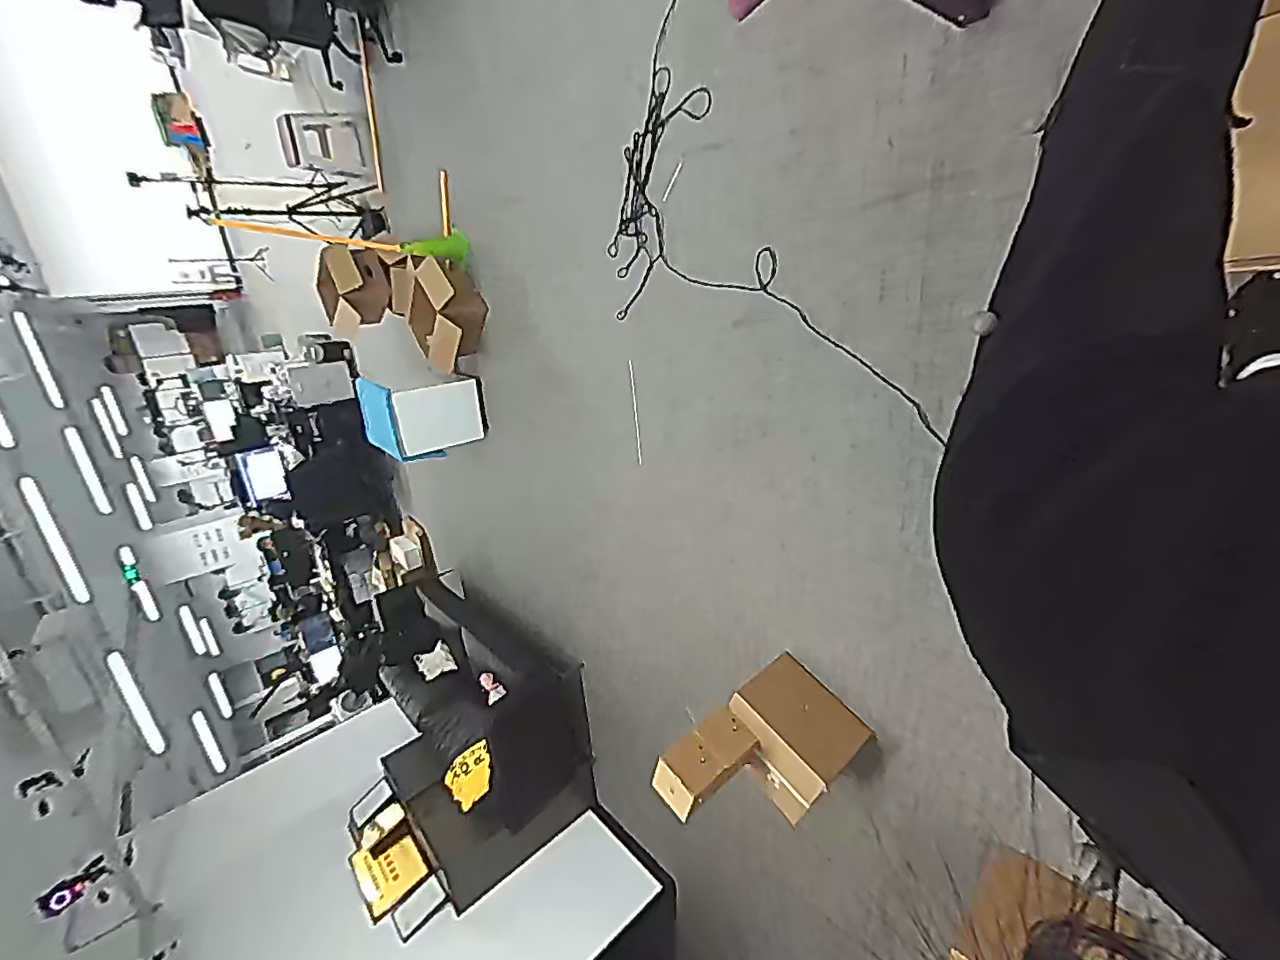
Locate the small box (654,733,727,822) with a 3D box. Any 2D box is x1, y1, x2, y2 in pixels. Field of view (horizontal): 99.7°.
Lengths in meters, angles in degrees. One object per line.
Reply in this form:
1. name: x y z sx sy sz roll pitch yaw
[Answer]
1. small box: 0.174 1.011 1.847 0.168 0.176 0.179 38 132 35
